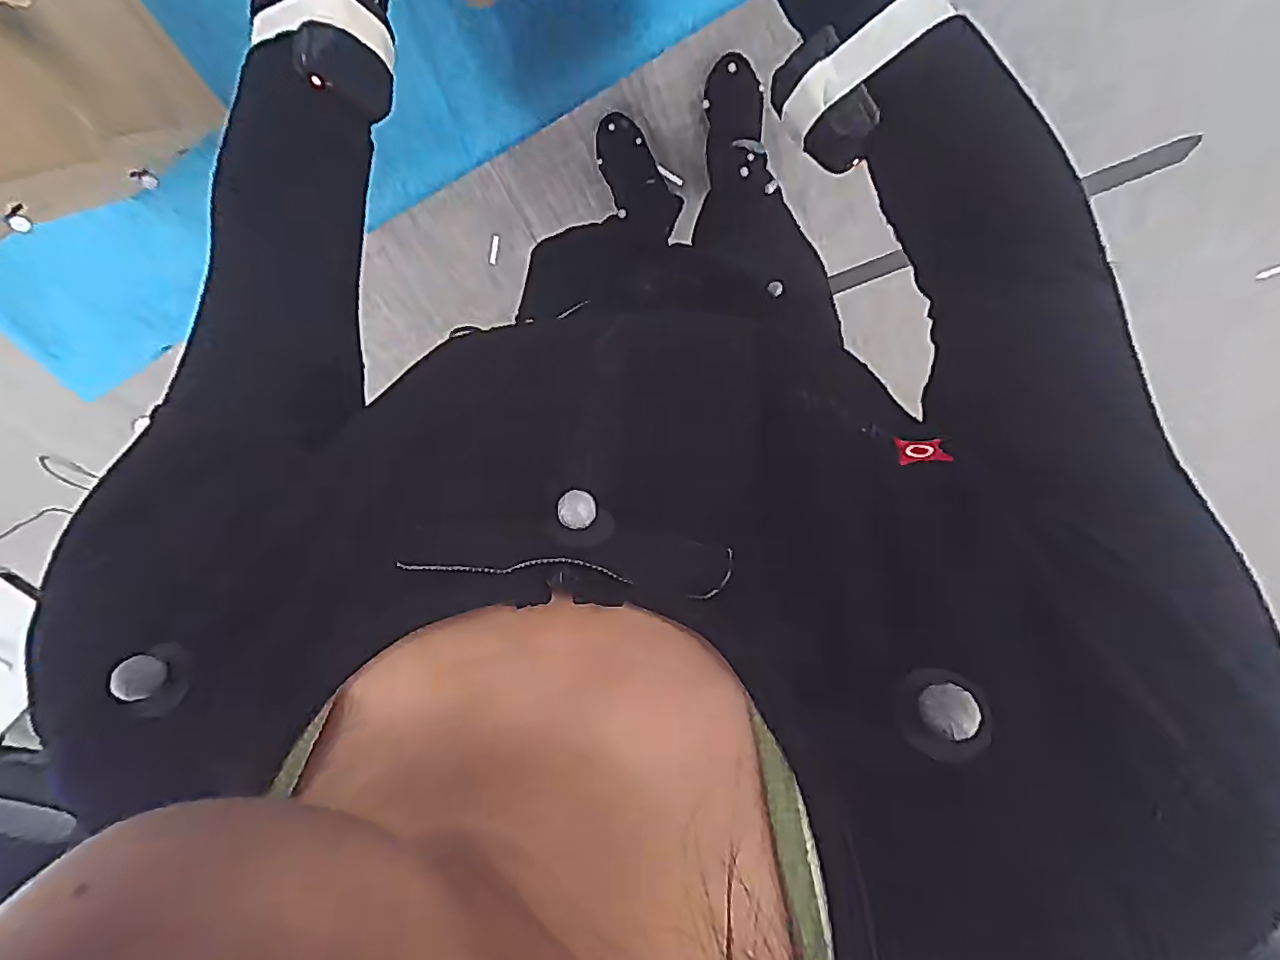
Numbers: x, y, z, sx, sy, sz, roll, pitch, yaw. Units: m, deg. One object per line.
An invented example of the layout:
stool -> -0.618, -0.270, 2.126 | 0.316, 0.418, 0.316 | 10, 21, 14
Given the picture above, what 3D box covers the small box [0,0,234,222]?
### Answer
small box -> -0.505, -0.336, 0.447 | 0.168, 0.176, 0.179 | -17, 129, 16
